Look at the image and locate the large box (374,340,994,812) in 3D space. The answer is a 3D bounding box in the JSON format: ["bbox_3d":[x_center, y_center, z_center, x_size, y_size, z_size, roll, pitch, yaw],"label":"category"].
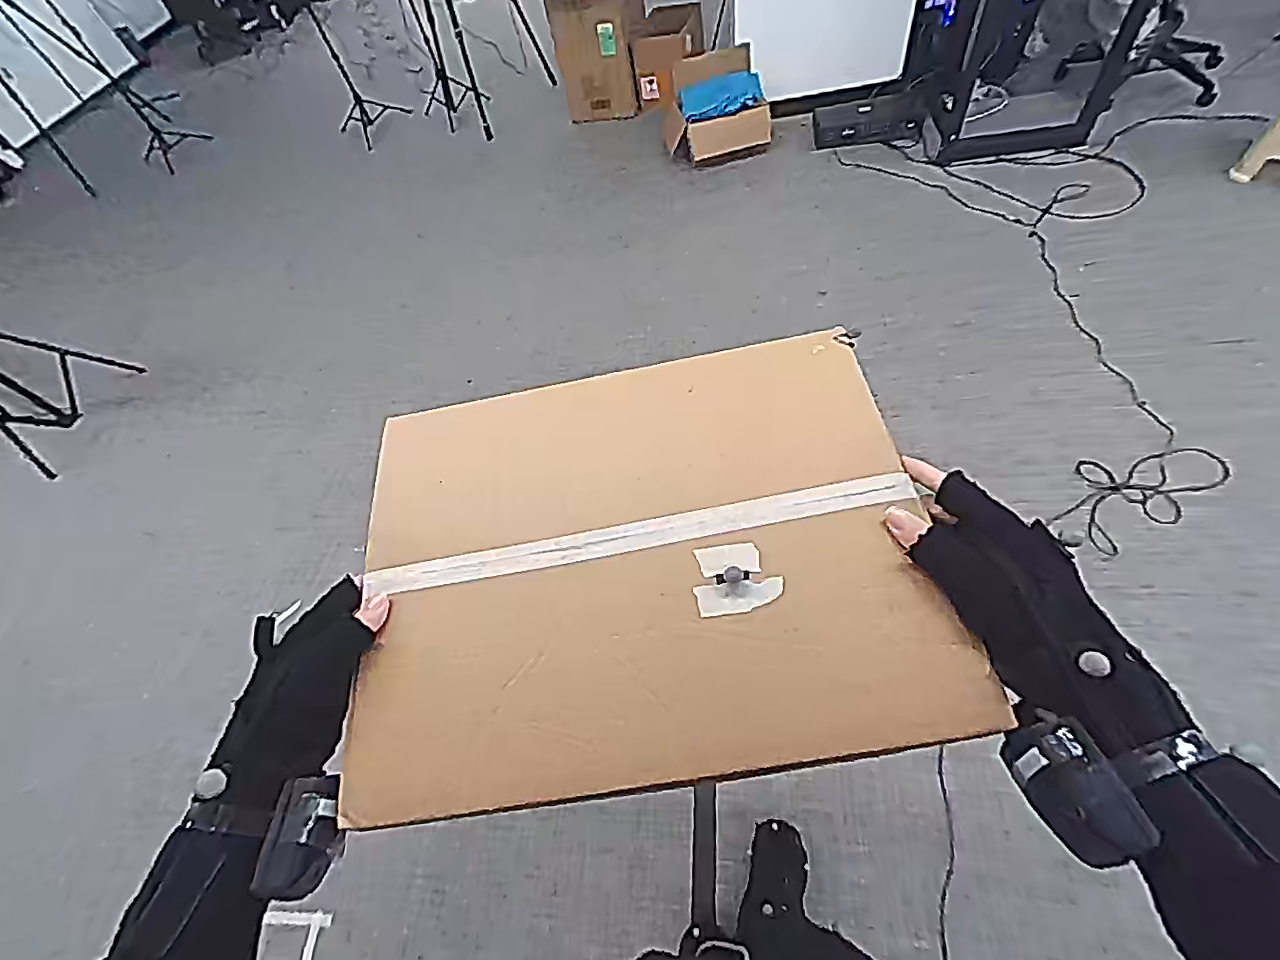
[{"bbox_3d":[0.021,0.115,0.538,0.408,0.320,0.320,-10,61,3],"label":"large box"}]
